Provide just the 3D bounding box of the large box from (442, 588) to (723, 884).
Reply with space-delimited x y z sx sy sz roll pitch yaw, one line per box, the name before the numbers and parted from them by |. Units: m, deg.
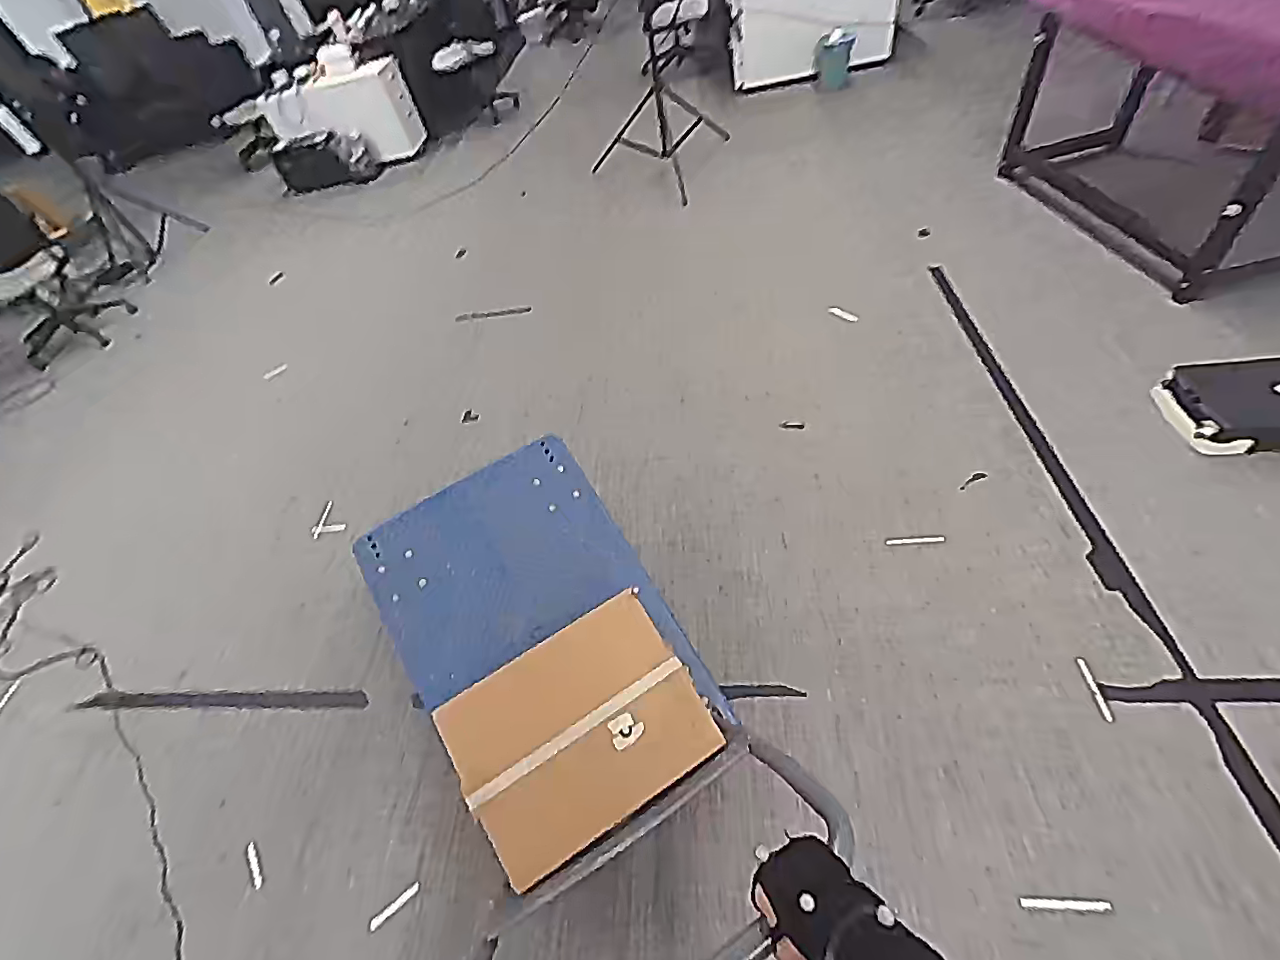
large box | -0.106 0.475 1.076 0.408 0.320 0.320 -31 75 -13
